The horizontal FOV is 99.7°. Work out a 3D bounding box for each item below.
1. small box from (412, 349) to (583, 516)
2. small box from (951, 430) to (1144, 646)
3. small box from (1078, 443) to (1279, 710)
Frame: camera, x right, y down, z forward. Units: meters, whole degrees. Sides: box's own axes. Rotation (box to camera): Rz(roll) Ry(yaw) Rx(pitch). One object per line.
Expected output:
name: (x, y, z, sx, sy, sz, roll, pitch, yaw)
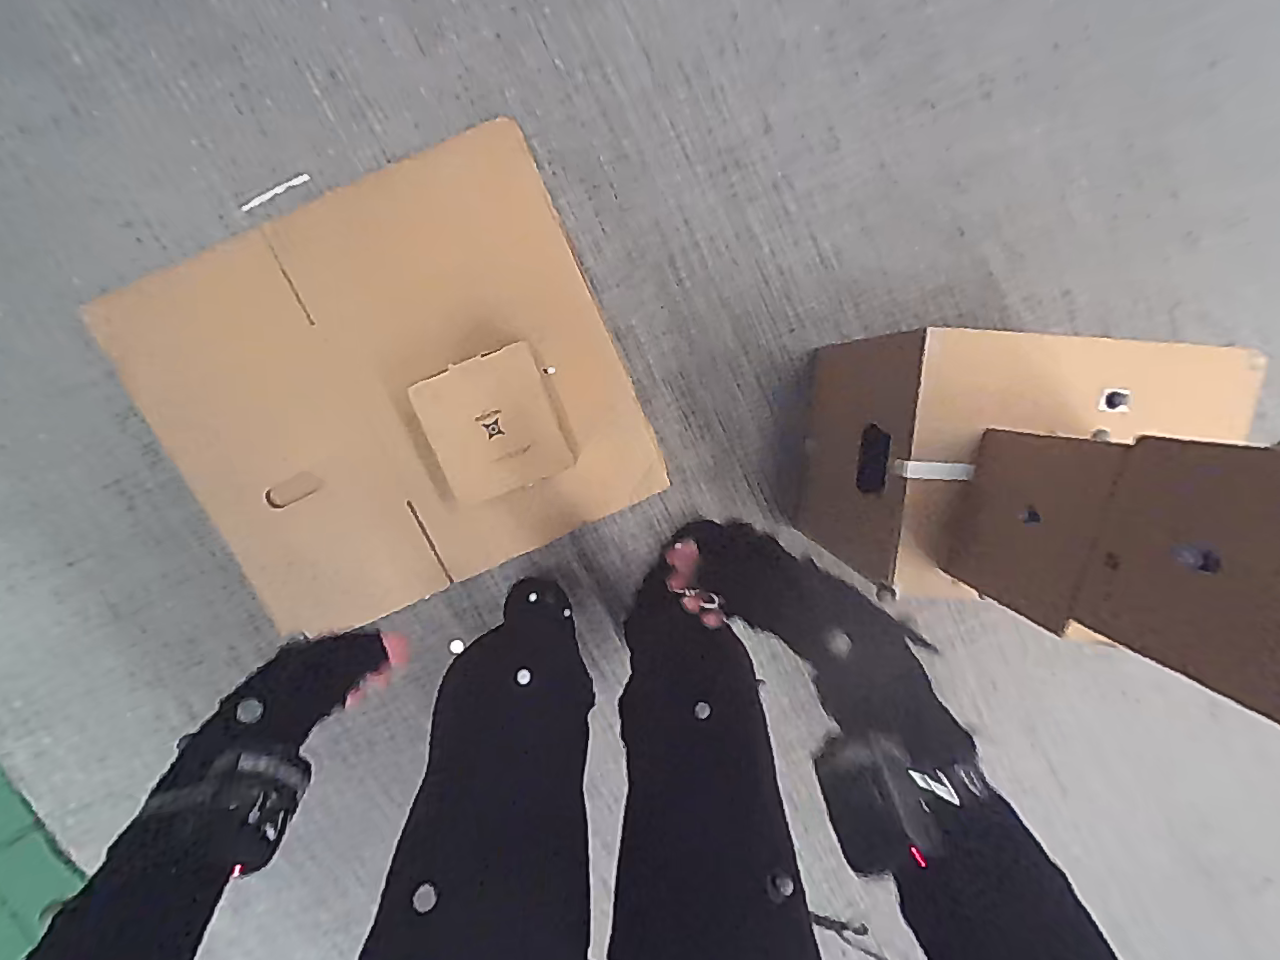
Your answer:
small box: (-0.192, -0.071, 0.781, 0.168, 0.176, 0.179, -23, 100, 1)
small box: (0.451, 0.052, 0.543, 0.168, 0.176, 0.179, 9, 98, -5)
small box: (0.470, 0.067, 0.383, 0.179, 0.176, 0.168, 8, 97, -6)
